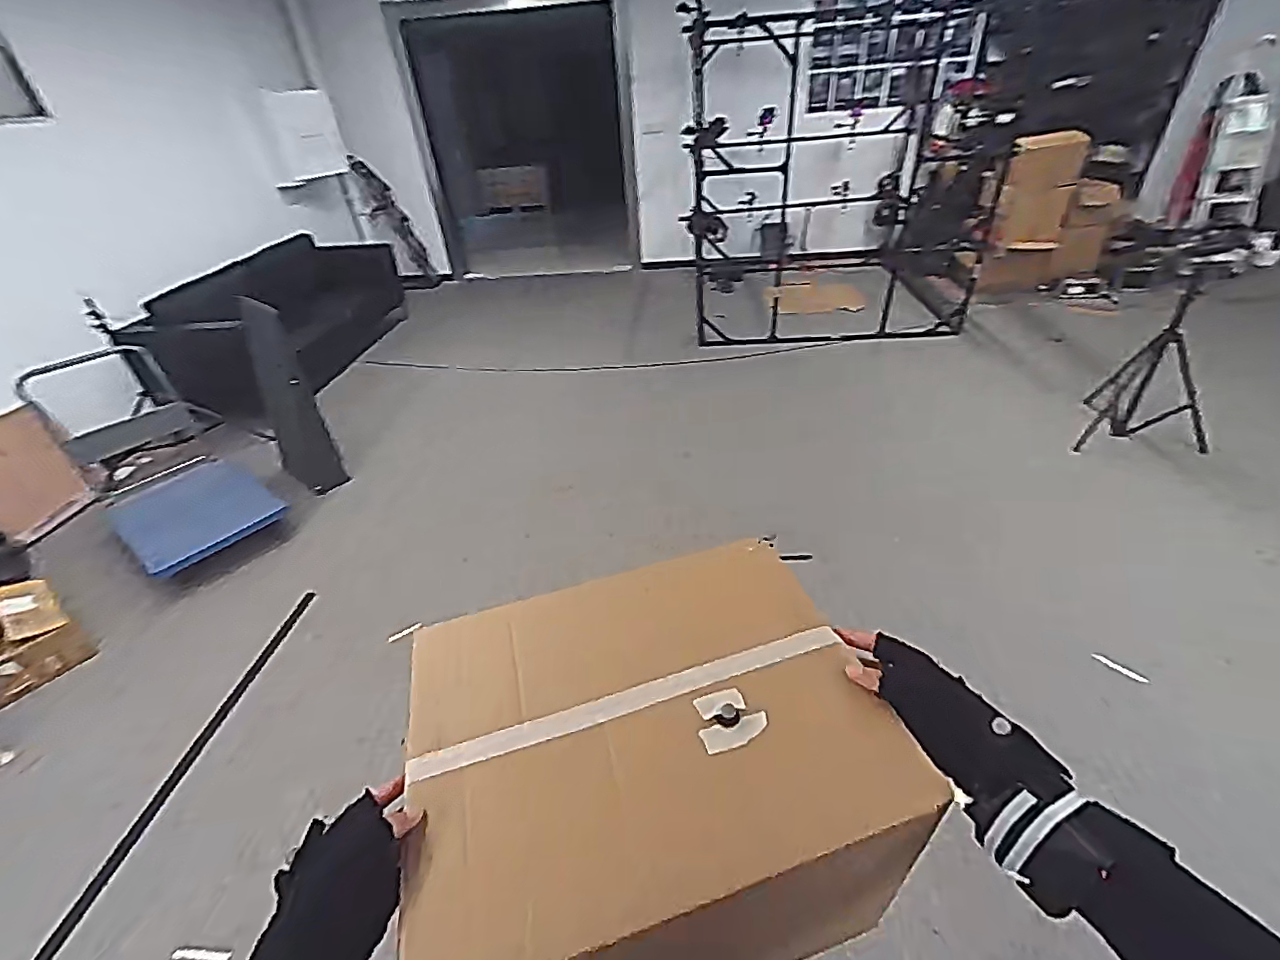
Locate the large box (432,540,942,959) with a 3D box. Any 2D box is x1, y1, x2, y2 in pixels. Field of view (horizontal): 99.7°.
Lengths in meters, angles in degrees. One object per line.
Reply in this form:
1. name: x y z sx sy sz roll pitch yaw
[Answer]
1. large box: 0.019 0.321 0.591 0.408 0.320 0.320 -13 38 -11
